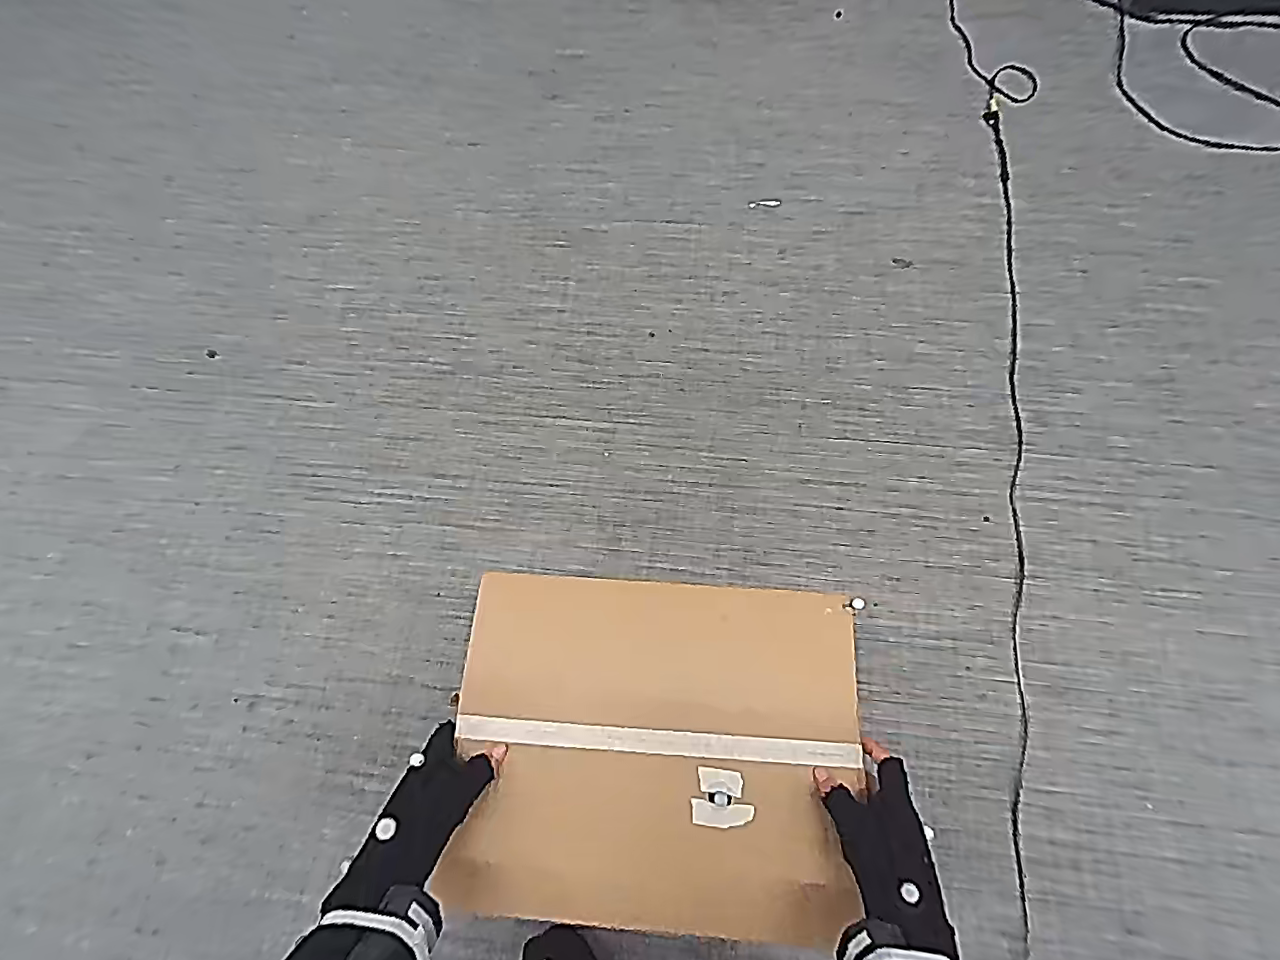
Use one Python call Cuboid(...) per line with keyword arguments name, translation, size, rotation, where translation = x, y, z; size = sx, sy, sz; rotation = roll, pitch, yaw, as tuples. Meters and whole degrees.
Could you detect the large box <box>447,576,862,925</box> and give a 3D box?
Cuboid(name="large box", translation=(0.020, 0.315, 0.701), size=(0.408, 0.320, 0.320), rotation=(3, 70, 3))
